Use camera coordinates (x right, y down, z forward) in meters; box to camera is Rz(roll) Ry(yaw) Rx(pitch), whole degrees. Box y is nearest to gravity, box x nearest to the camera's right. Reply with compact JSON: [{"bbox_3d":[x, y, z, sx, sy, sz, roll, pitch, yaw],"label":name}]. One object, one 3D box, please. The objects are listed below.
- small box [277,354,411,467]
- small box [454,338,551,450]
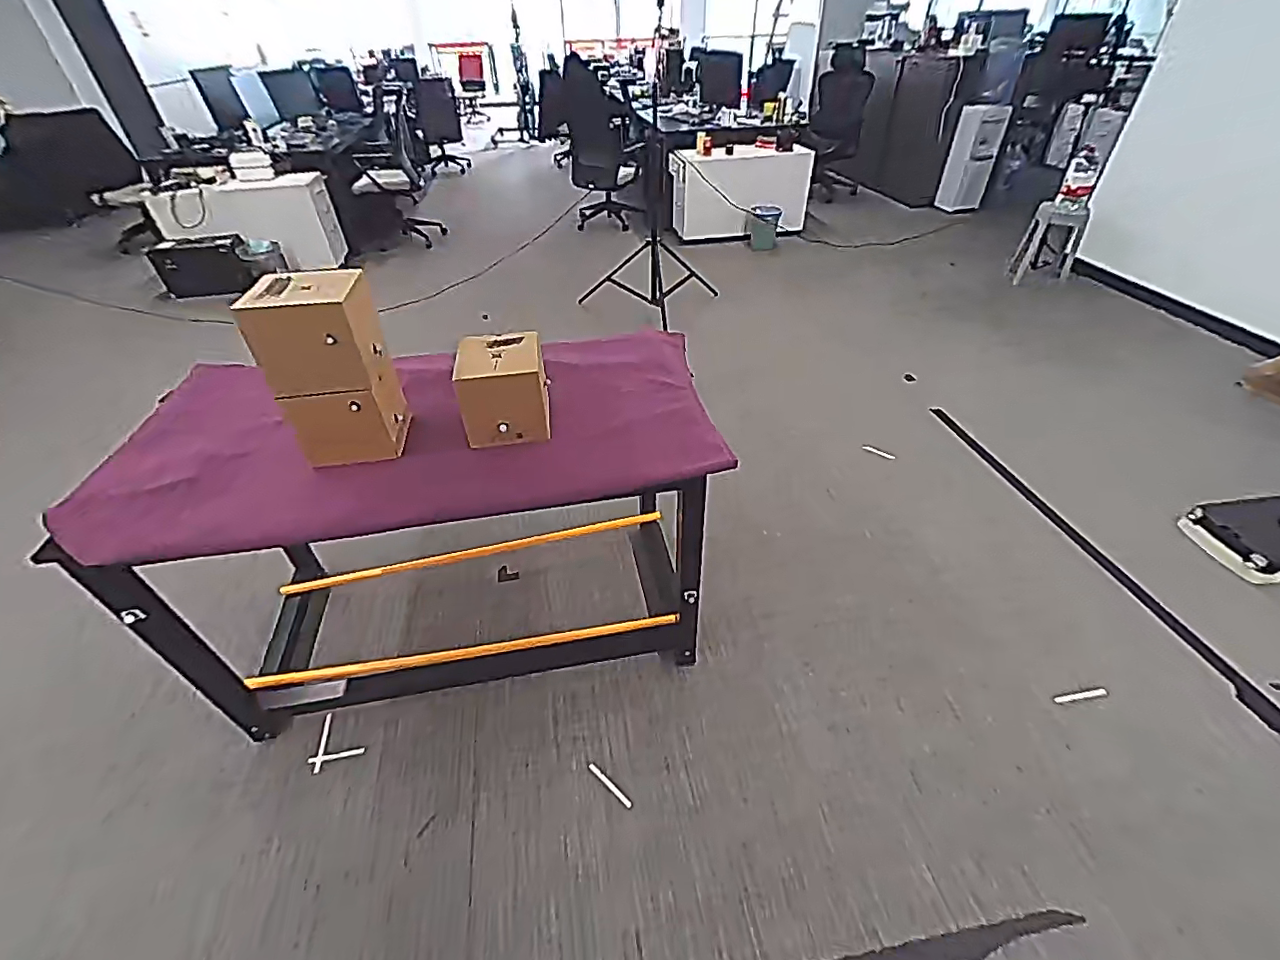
[{"bbox_3d":[-0.592,-0.140,1.109,0.179,0.176,0.168,-7,40,-7],"label":"small box"},{"bbox_3d":[-0.284,-0.183,1.149,0.168,0.176,0.179,-7,41,-6],"label":"small box"}]
